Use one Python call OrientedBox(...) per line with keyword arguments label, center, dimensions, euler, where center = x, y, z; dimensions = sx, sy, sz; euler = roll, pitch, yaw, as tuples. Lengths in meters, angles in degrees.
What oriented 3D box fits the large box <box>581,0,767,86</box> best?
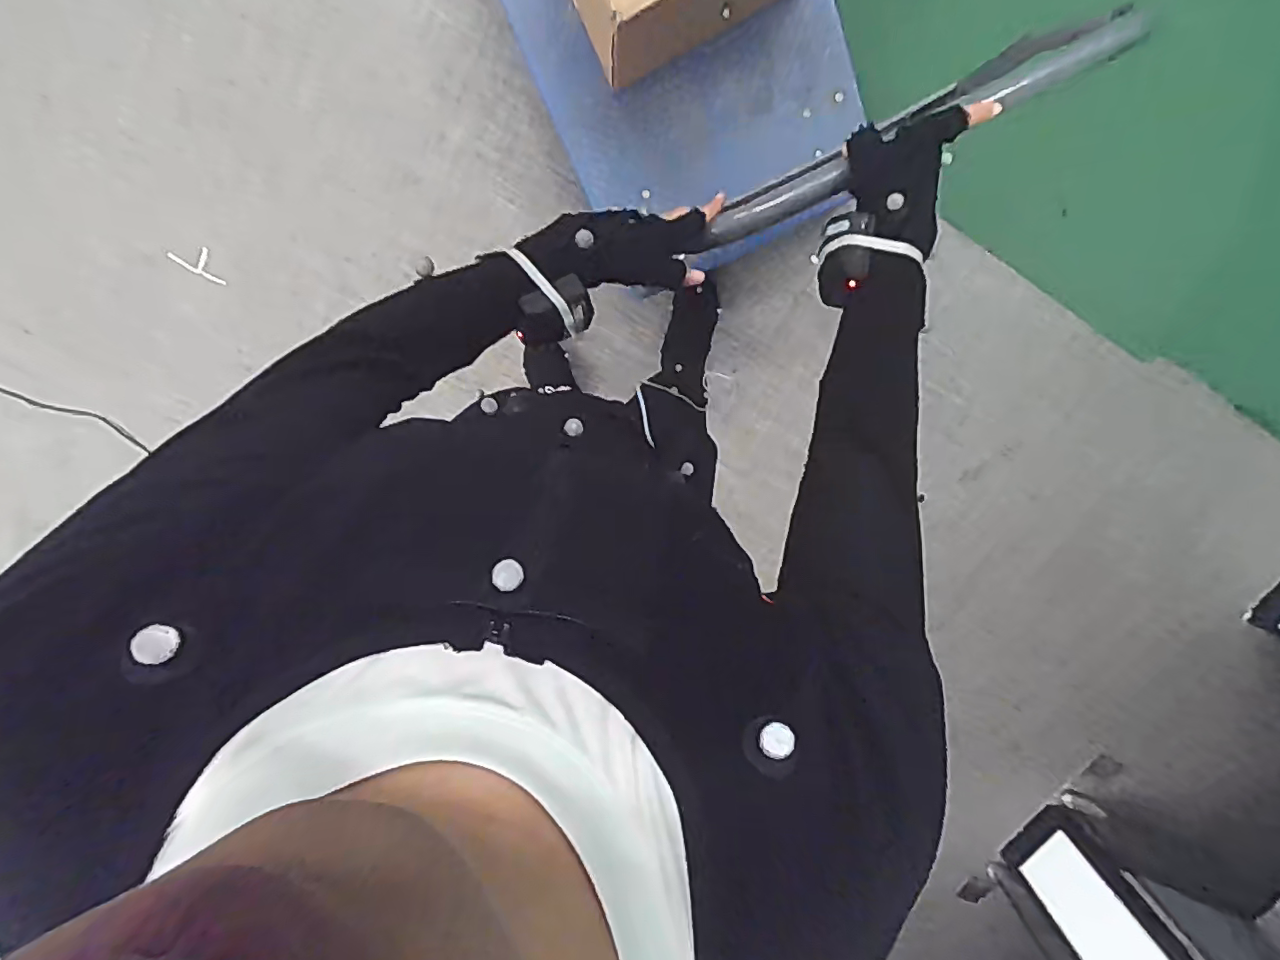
OrientedBox(label="large box", center=(0.075, -0.920, 0.841), dimensions=(0.408, 0.320, 0.320), euler=(-26, 109, 7))
